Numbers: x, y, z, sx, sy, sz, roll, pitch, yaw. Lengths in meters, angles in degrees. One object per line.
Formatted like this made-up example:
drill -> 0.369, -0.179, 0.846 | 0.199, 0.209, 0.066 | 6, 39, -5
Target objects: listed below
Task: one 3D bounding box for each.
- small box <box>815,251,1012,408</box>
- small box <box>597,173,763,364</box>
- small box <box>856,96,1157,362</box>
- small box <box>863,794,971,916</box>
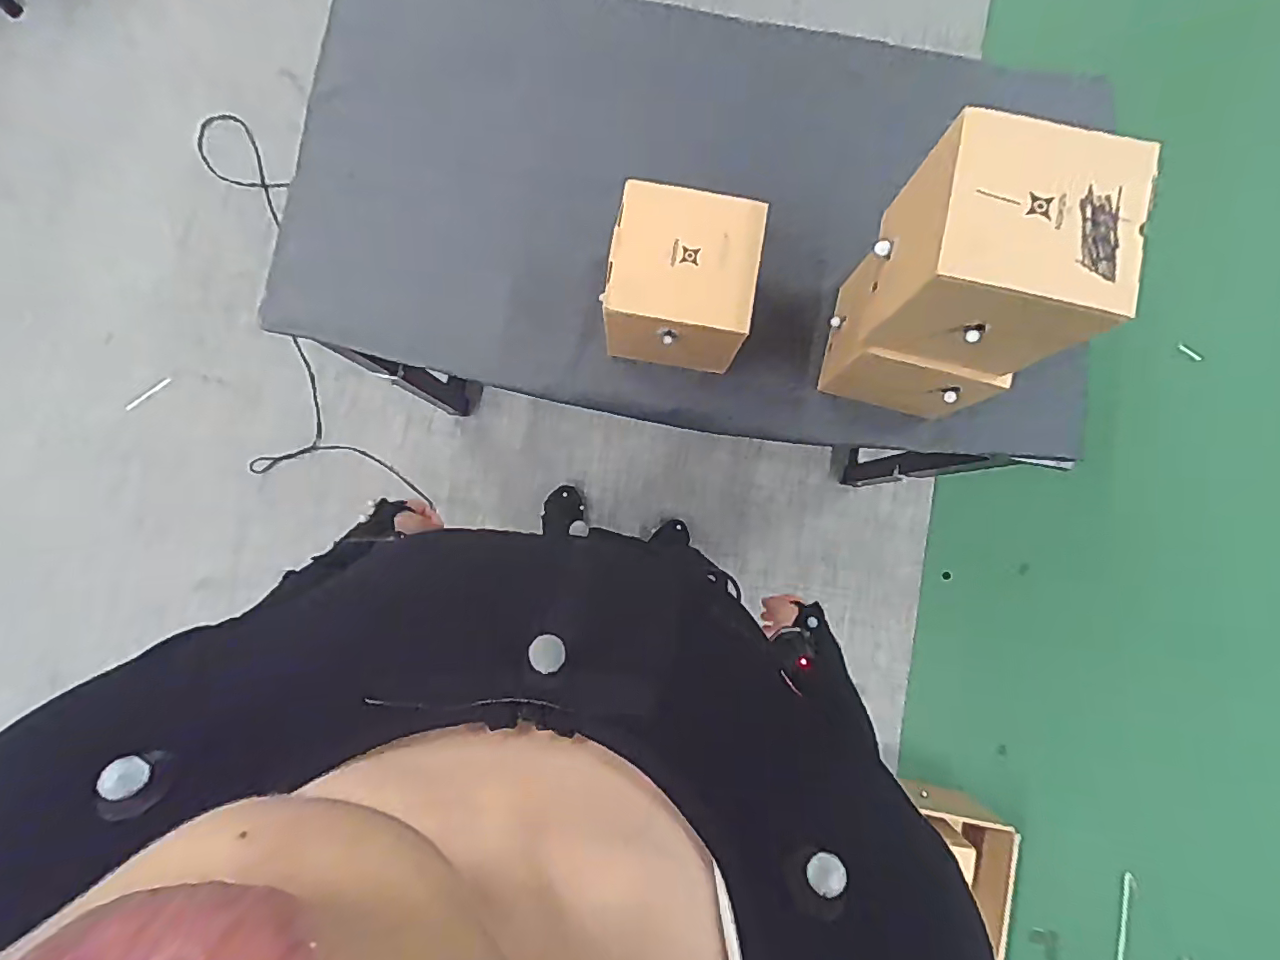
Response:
small box -> 0.355, -0.202, 0.706 | 0.179, 0.176, 0.168 | 14, 84, 0
small box -> 0.046, -0.262, 0.708 | 0.179, 0.176, 0.168 | 9, 86, -1
small box -> 0.348, -0.231, 0.545 | 0.179, 0.176, 0.168 | 13, 84, 1
small box -> 0.671, 0.908, 1.328 | 0.168, 0.176, 0.179 | 12, 86, 1
